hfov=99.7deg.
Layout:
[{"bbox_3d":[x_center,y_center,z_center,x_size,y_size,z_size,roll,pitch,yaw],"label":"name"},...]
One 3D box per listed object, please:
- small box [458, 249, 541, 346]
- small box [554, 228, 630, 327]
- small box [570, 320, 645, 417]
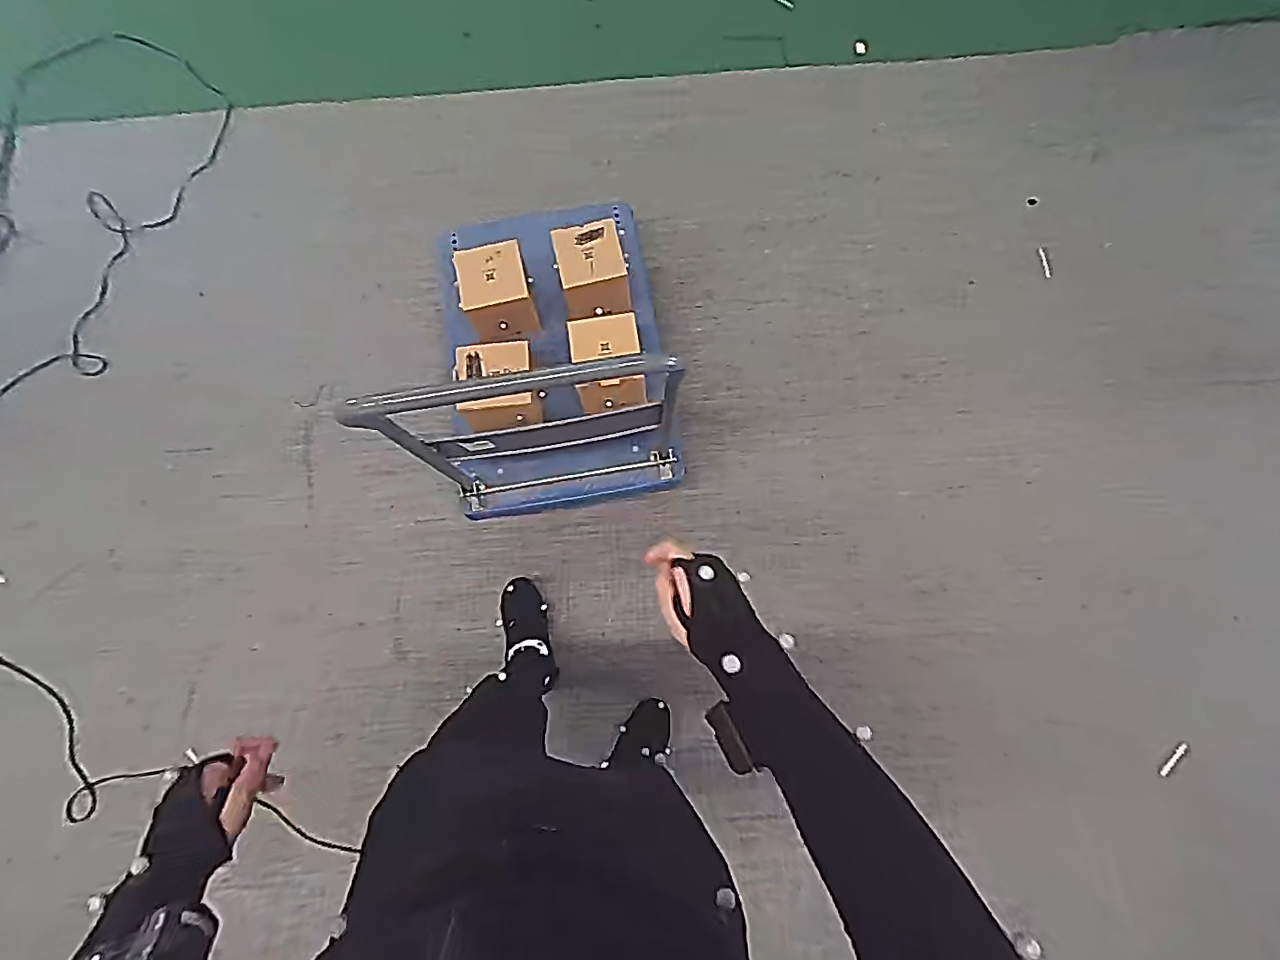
[{"bbox_3d":[-0.370,-0.479,1.449,0.168,0.176,0.179,-13,74,-3],"label":"small box"},{"bbox_3d":[-0.125,-0.538,1.457,0.168,0.176,0.179,-13,75,-1],"label":"small box"},{"bbox_3d":[-0.080,-0.281,1.385,0.168,0.176,0.179,-9,75,-1],"label":"small box"}]
